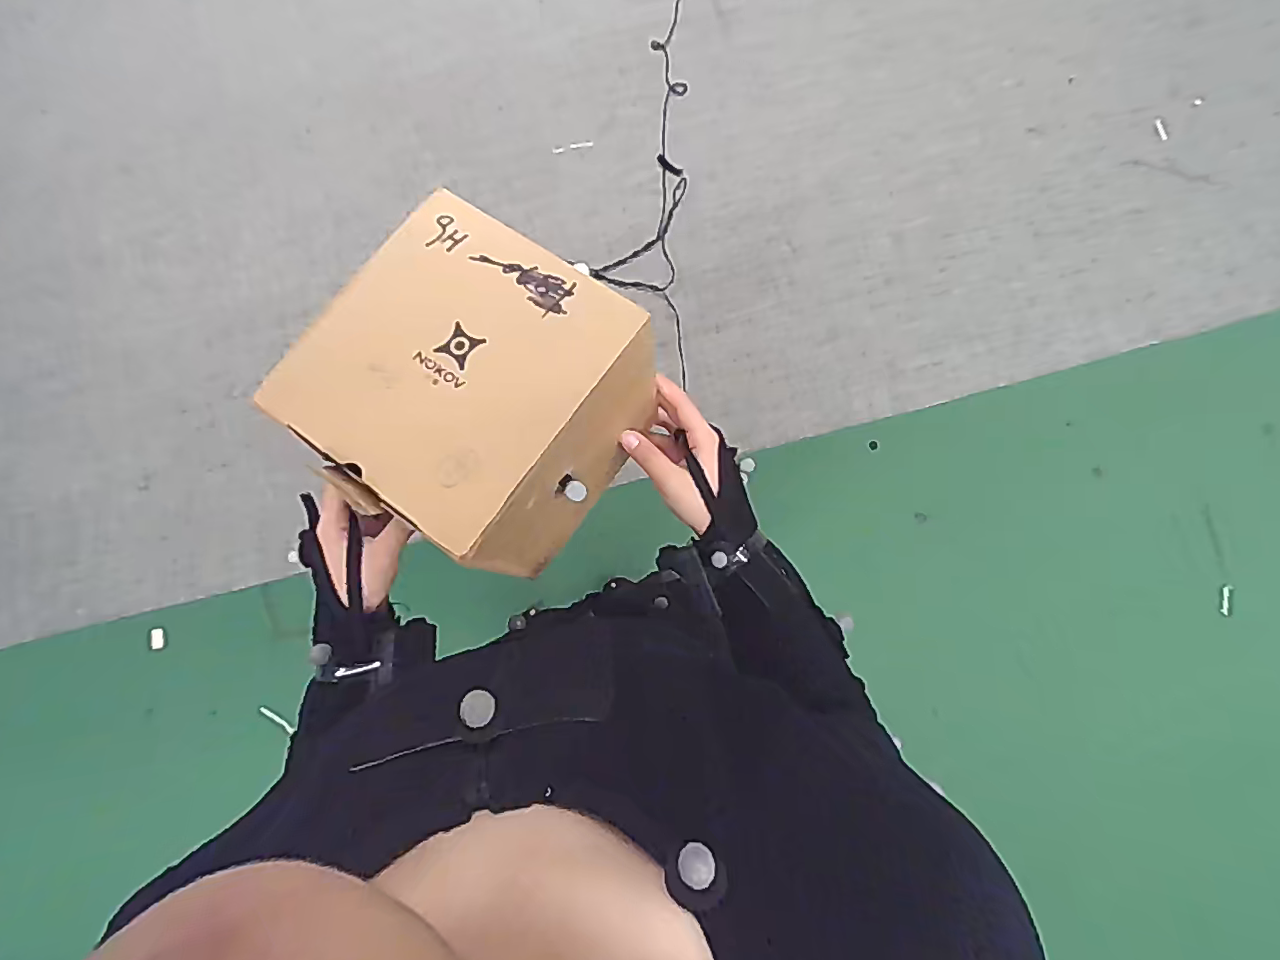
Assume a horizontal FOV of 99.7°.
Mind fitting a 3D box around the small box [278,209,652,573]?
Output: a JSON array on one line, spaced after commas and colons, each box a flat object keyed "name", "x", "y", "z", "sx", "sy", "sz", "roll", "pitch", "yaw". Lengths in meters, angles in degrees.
[{"name": "small box", "x": -0.100, "y": -0.046, "z": 0.402, "sx": 0.168, "sy": 0.176, "sz": 0.179, "roll": 34, "pitch": 80, "yaw": 11}]
